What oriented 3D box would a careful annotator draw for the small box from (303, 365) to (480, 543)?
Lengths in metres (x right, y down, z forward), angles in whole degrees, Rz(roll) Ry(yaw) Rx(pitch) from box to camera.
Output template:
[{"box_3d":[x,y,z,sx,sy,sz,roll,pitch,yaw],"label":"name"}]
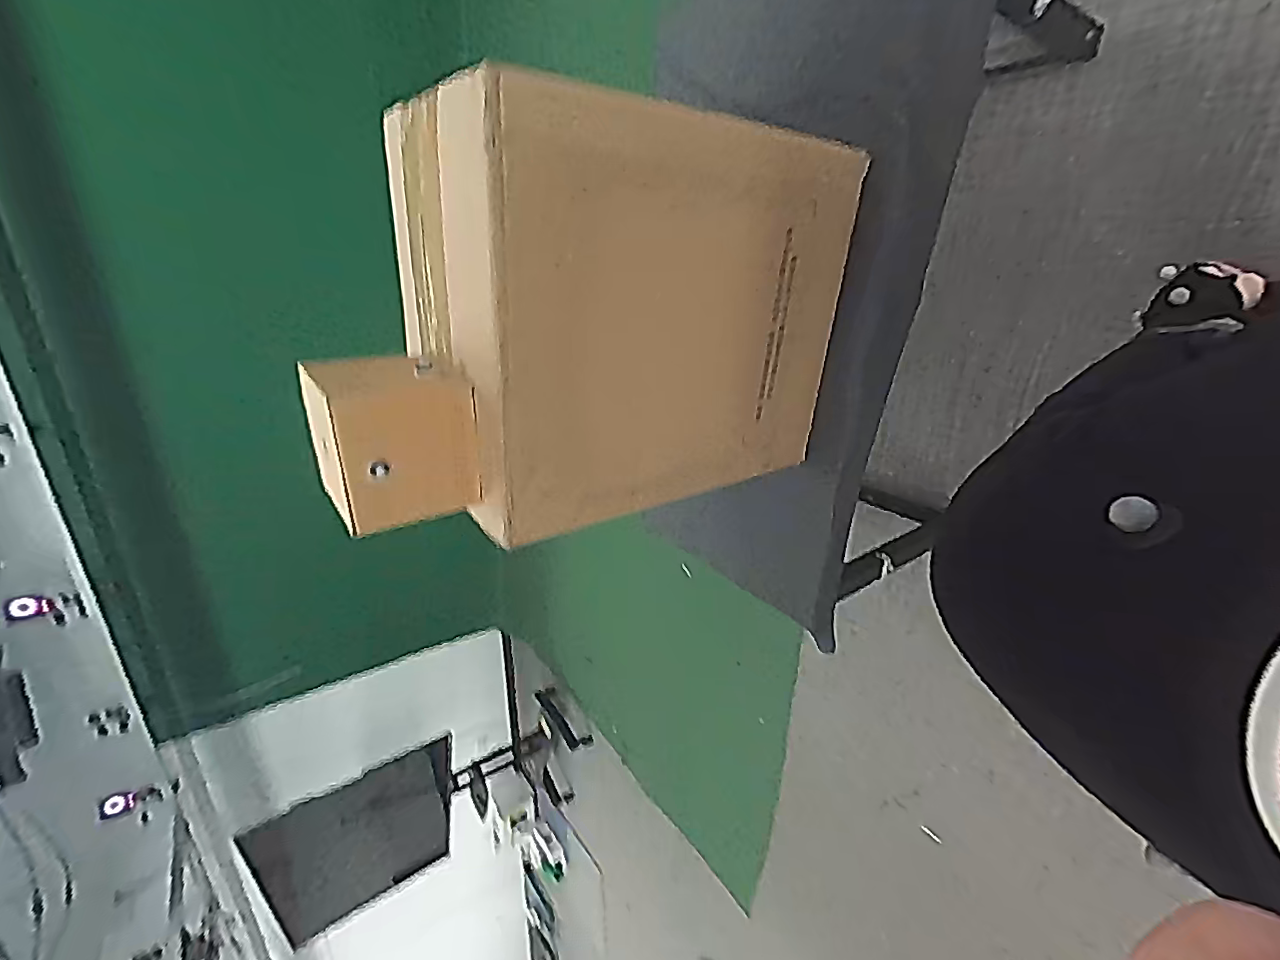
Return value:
[{"box_3d":[-0.323,-0.046,0.720,0.168,0.176,0.179,29,124,43],"label":"small box"}]
